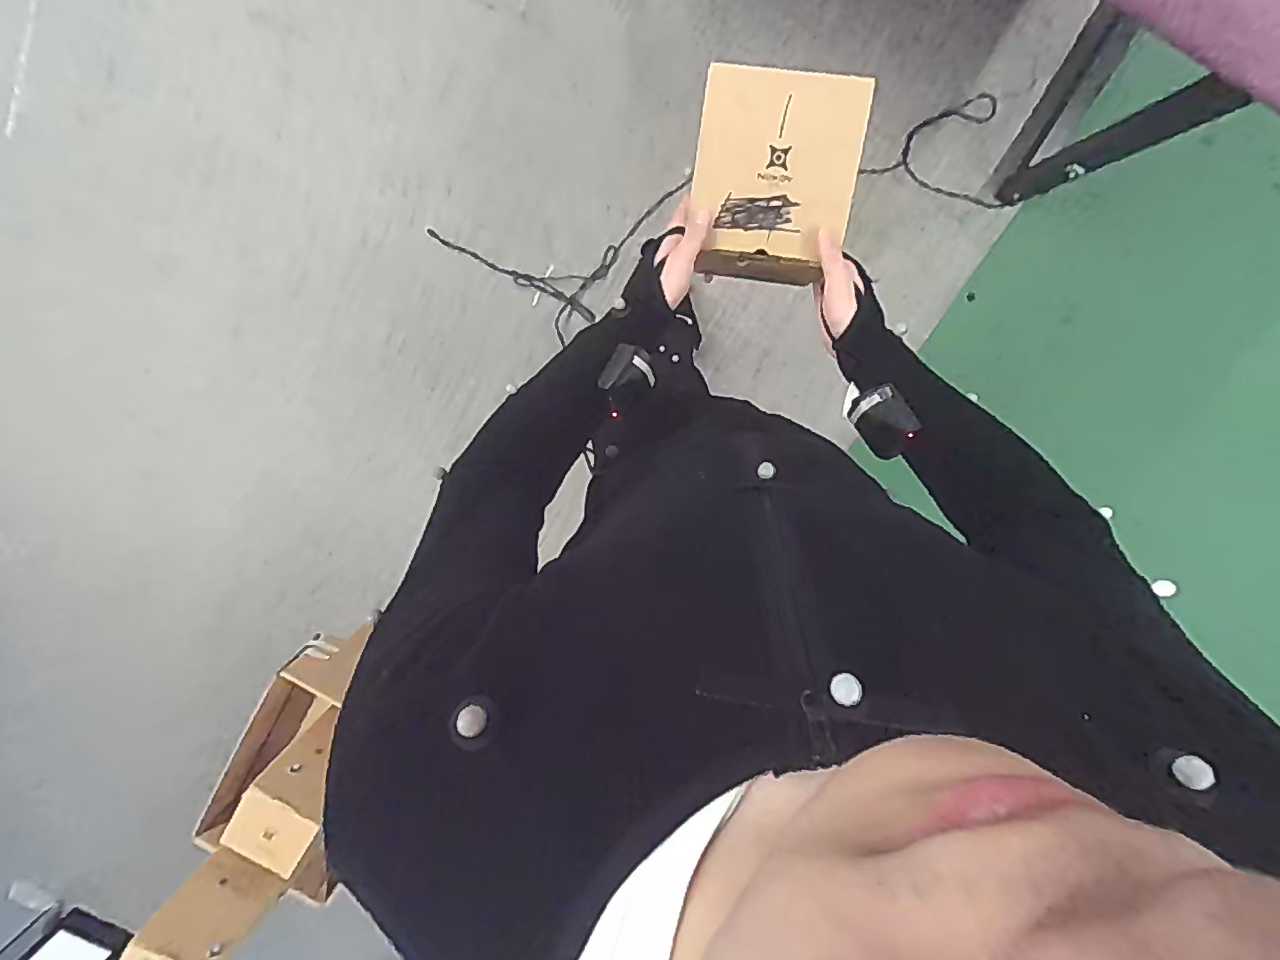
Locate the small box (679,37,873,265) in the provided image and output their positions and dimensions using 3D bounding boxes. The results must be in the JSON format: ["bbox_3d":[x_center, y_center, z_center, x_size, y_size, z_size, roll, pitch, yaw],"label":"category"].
[{"bbox_3d":[0.141,-0.355,0.619,0.168,0.176,0.179,9,104,4],"label":"small box"}]

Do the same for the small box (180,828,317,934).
[{"bbox_3d":[-0.894,0.878,1.252,0.168,0.176,0.179,32,103,-4],"label":"small box"}]

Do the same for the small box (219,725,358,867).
[{"bbox_3d":[-0.757,0.681,1.185,0.168,0.176,0.179,33,105,-4],"label":"small box"}]
